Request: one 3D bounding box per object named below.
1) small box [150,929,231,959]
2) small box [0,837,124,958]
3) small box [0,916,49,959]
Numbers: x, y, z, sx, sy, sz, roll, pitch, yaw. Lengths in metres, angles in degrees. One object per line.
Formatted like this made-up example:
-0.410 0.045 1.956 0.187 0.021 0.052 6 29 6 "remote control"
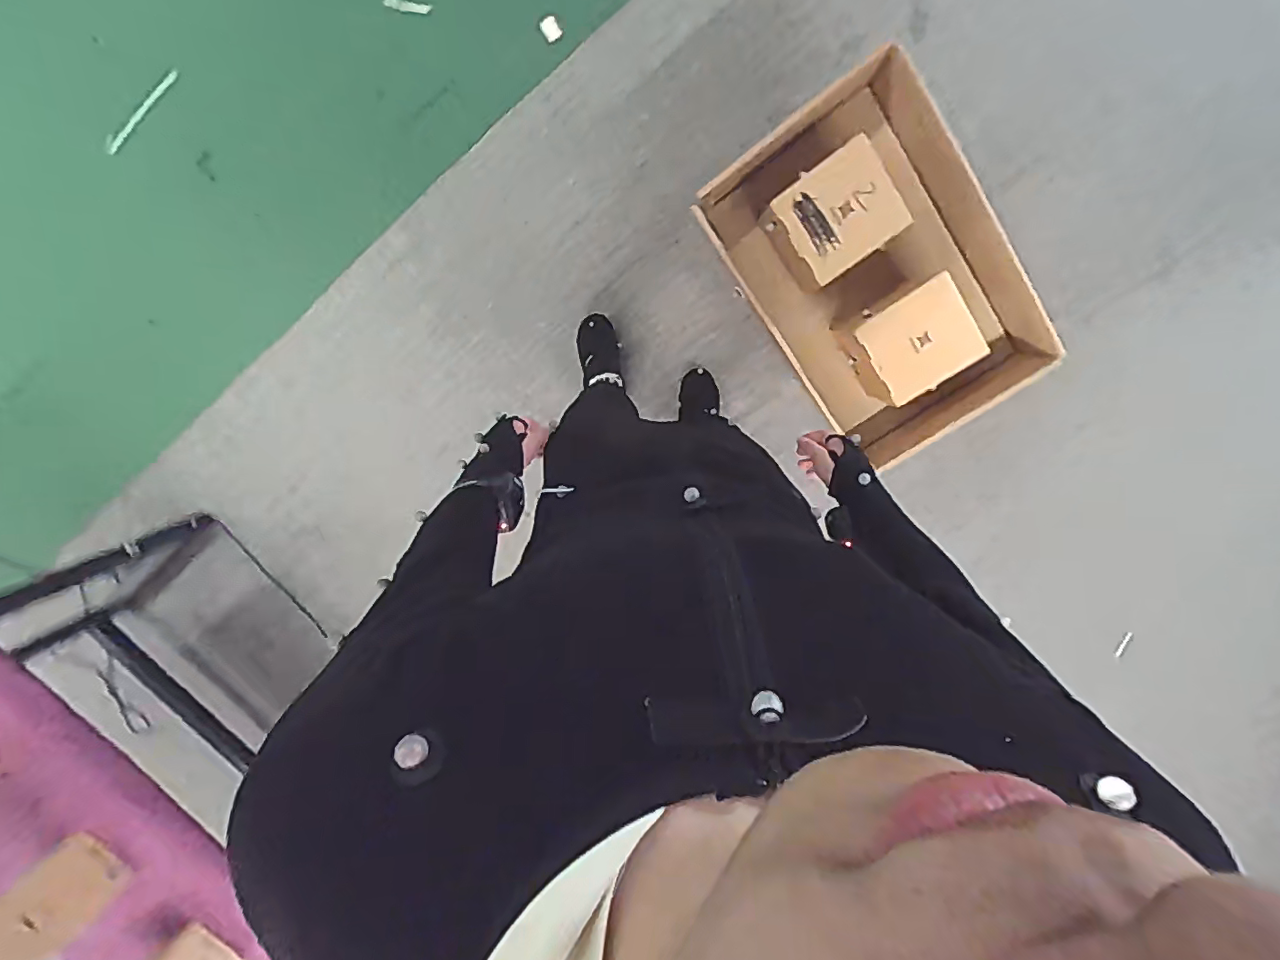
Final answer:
-1.091 1.201 1.248 0.179 0.176 0.168 -38 100 14 "small box"
-1.311 0.939 1.193 0.179 0.176 0.168 -37 100 15 "small box"
-1.322 0.982 1.037 0.168 0.176 0.179 -37 99 13 "small box"
